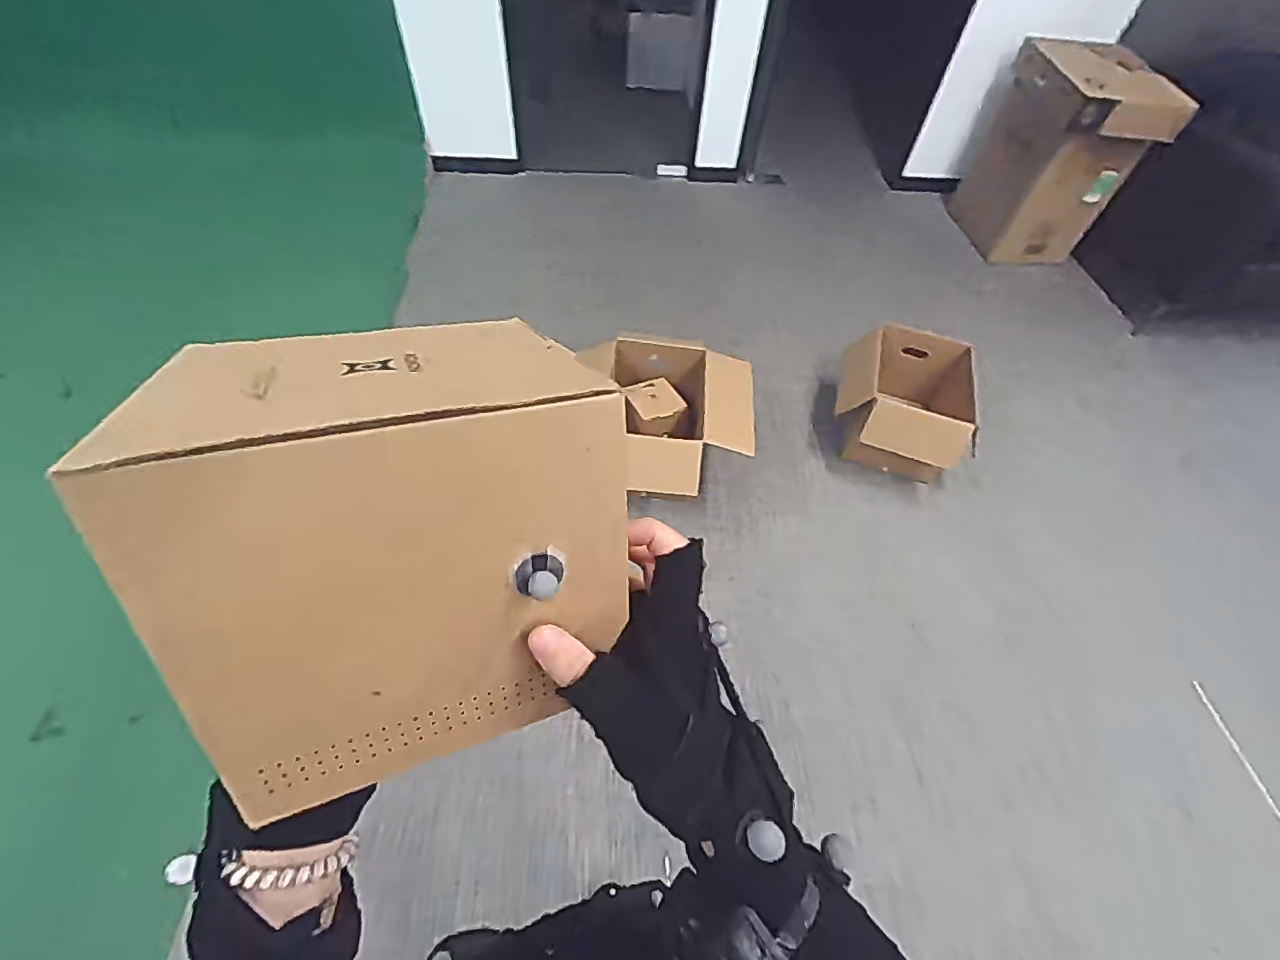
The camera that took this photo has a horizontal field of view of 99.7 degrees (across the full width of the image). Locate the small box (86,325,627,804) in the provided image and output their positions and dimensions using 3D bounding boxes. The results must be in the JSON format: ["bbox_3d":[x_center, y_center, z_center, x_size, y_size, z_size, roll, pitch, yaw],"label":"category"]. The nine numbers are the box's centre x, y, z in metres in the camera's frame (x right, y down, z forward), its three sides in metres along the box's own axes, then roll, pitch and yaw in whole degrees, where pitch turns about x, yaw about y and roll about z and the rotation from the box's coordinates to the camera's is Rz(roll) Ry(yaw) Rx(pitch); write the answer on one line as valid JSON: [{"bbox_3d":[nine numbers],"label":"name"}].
[{"bbox_3d":[-0.117,0.024,0.291,0.179,0.176,0.168,-13,30,-22],"label":"small box"}]
